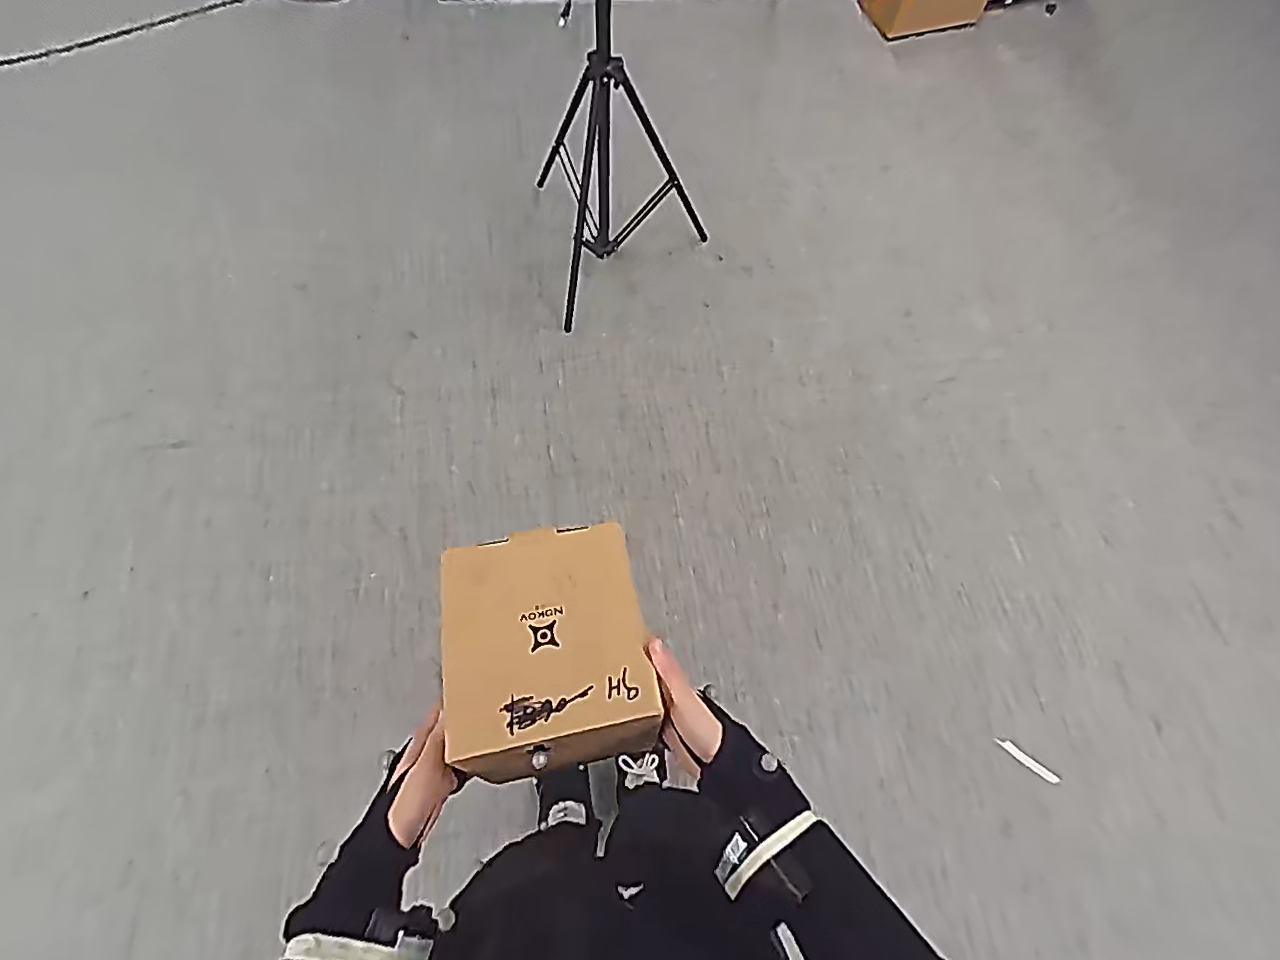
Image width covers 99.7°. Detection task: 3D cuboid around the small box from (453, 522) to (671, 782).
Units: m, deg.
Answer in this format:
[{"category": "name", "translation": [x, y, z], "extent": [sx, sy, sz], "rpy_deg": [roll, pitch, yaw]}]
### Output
[{"category": "small box", "translation": [-0.074, 0.166, 0.515], "extent": [0.168, 0.176, 0.179], "rpy_deg": [-10, 56, -8]}]
